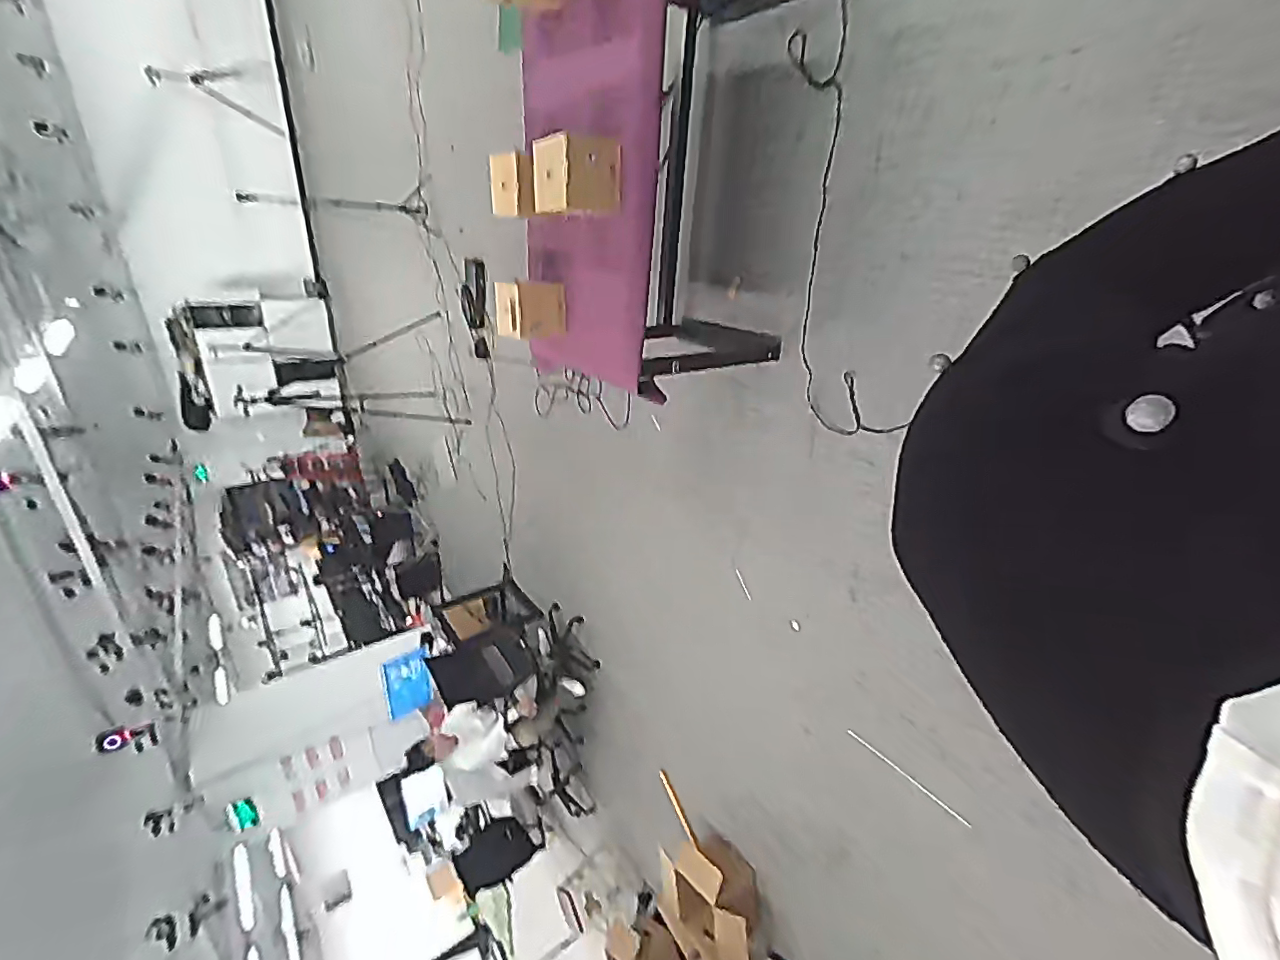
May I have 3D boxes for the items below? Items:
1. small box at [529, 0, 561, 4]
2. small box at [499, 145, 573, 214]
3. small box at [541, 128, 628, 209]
[{"bbox_3d":[-0.281,-1.369,1.403,0.179,0.176,0.168,37,132,41],"label":"small box"},{"bbox_3d":[-0.312,-0.903,1.634,0.179,0.176,0.168,30,126,45],"label":"small box"},{"bbox_3d":[-0.145,-0.815,1.428,0.179,0.176,0.168,30,125,48],"label":"small box"}]
